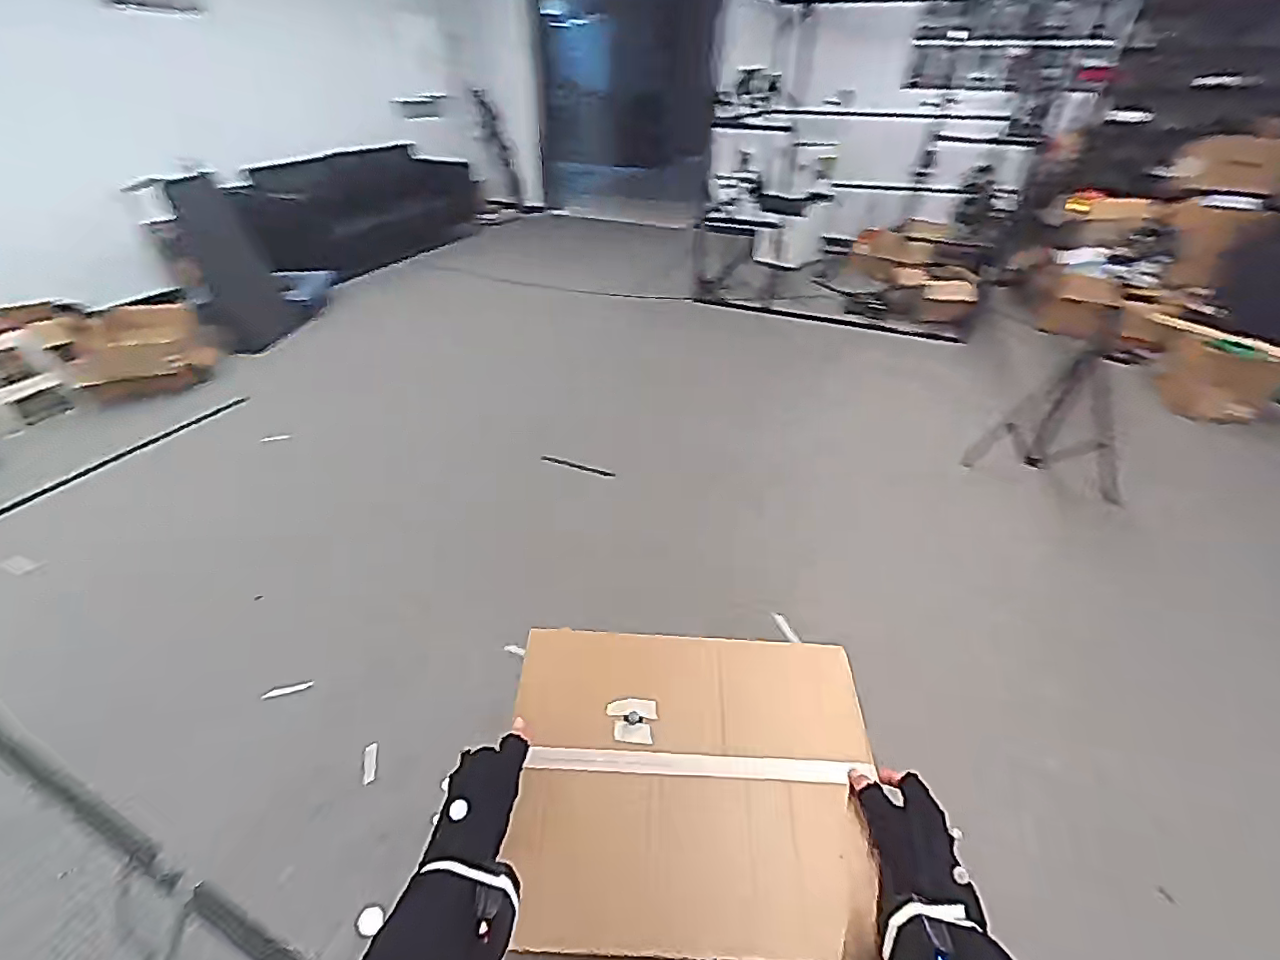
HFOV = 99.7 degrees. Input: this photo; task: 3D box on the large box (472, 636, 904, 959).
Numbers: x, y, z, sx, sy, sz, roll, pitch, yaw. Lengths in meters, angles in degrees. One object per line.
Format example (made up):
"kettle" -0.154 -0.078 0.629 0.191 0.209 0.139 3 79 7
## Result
"large box" 0.044 0.418 0.699 0.408 0.320 0.320 2 44 -1
